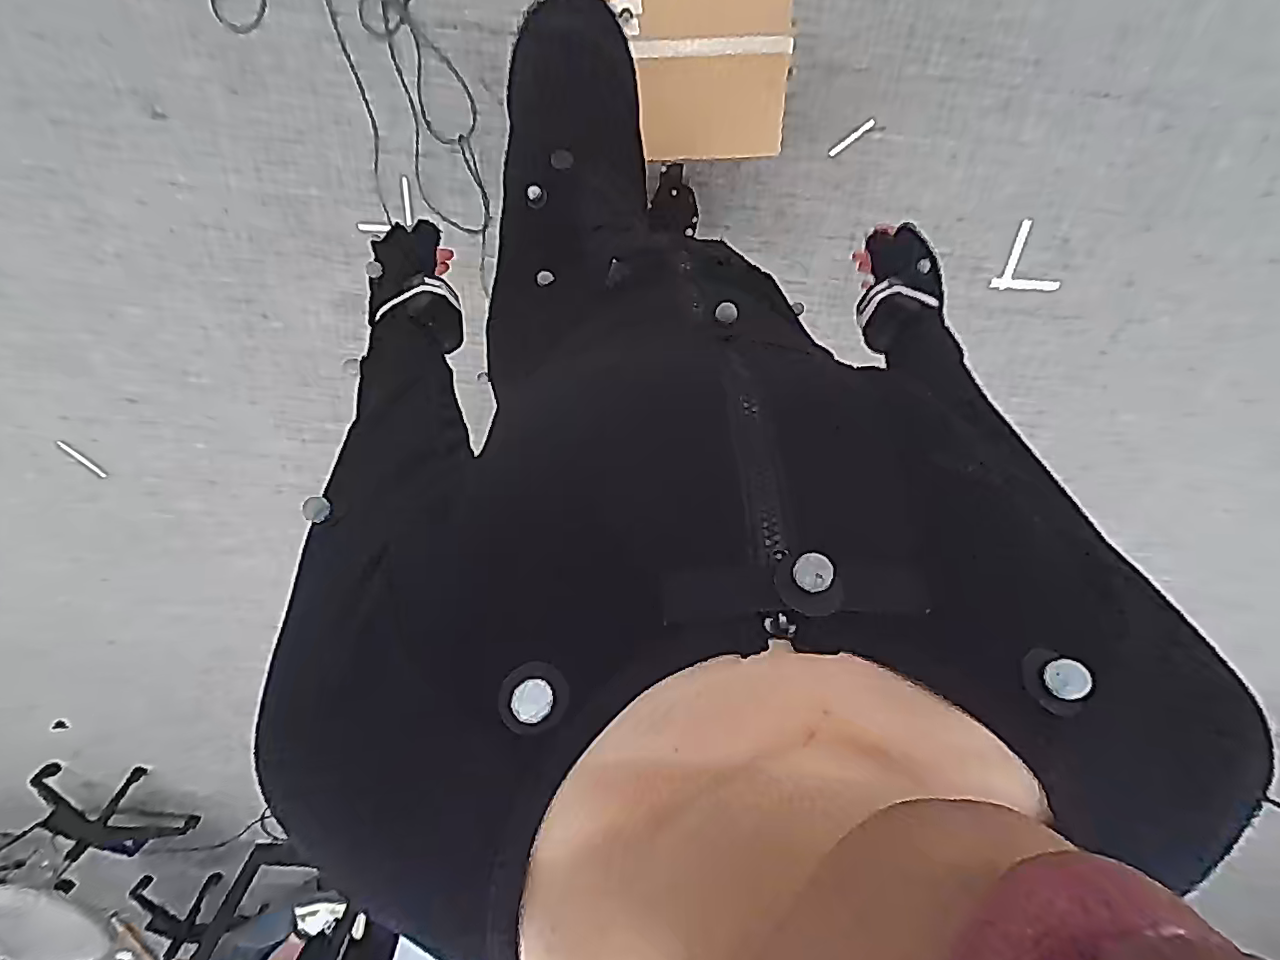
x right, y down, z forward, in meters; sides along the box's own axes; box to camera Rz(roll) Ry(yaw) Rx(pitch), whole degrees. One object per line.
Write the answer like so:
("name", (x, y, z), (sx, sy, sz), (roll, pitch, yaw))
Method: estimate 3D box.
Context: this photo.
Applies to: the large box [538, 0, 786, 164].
("large box", (0.039, -0.786, 1.021), (0.408, 0.320, 0.320), (-1, 120, 1))
